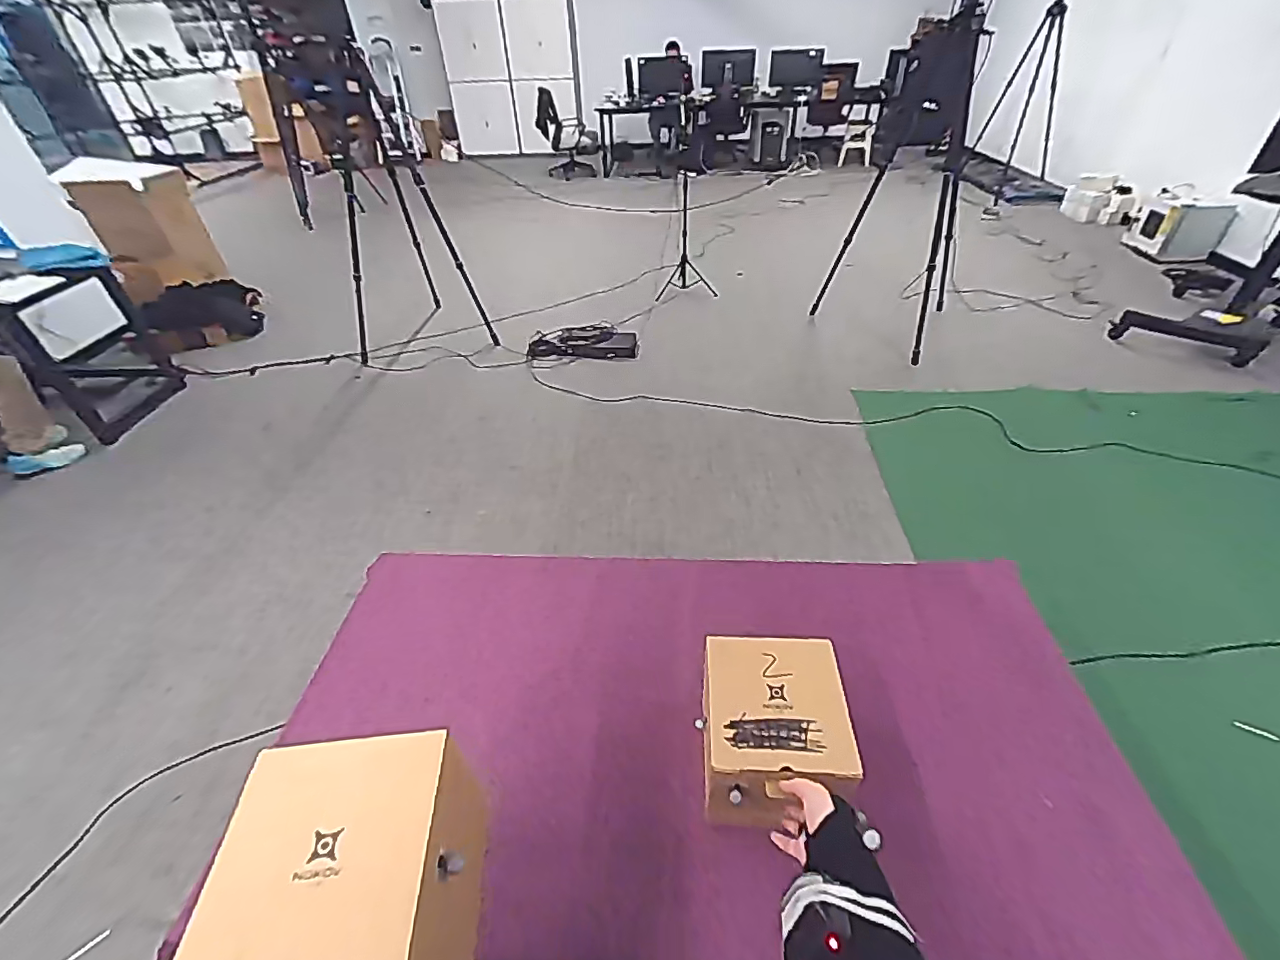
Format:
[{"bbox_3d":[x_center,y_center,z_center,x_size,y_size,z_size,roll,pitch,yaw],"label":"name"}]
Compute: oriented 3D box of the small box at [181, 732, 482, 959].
[{"bbox_3d":[-0.247,0.356,0.486,0.168,0.176,0.179,-5,42,-3],"label":"small box"}]
